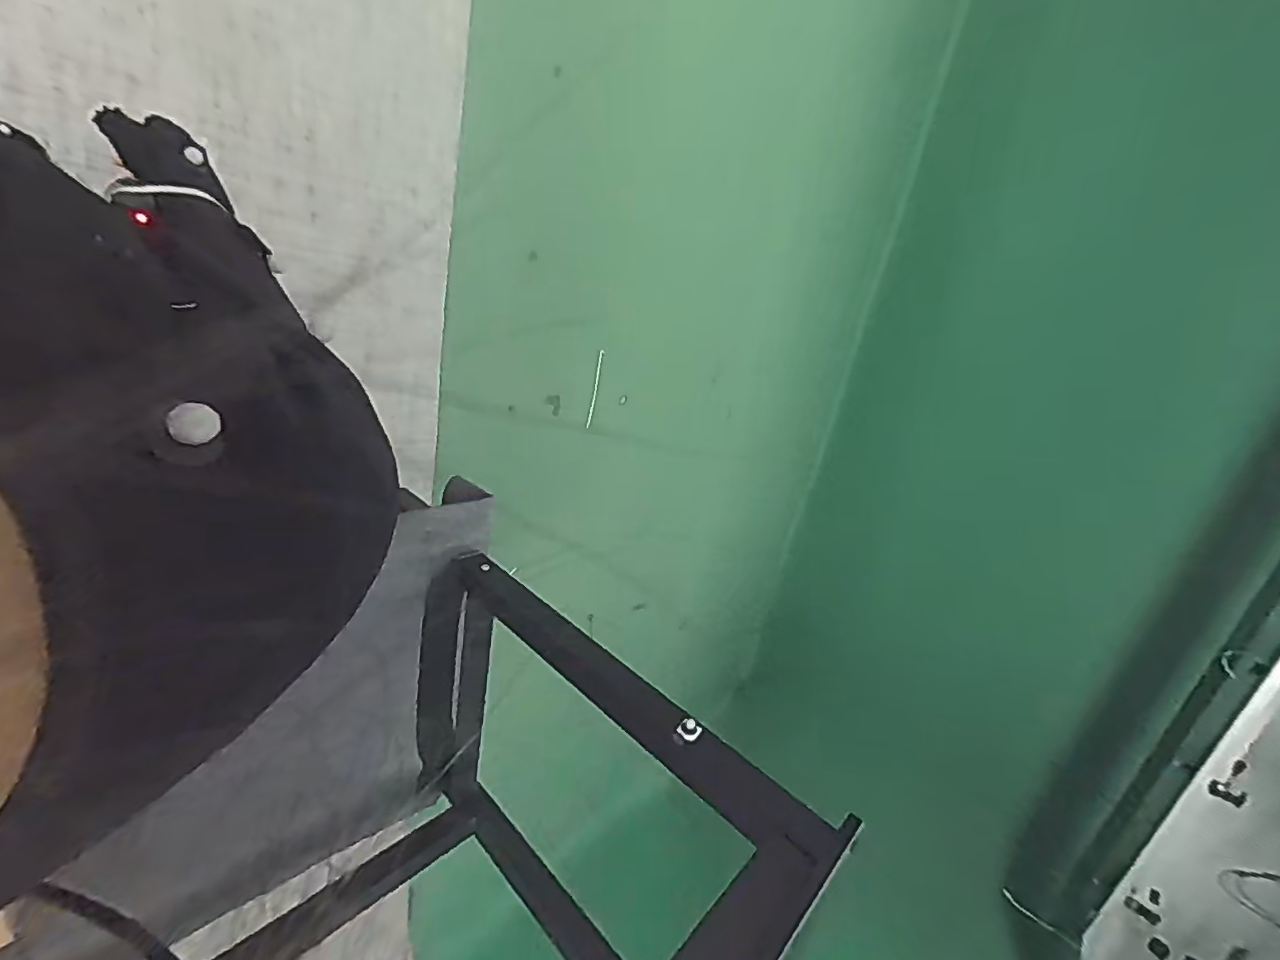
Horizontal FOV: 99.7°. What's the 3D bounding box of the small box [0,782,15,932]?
[{"bbox_3d":[-0.722,0.350,0.500,0.168,0.176,0.179,-15,124,-48],"label":"small box"}]
